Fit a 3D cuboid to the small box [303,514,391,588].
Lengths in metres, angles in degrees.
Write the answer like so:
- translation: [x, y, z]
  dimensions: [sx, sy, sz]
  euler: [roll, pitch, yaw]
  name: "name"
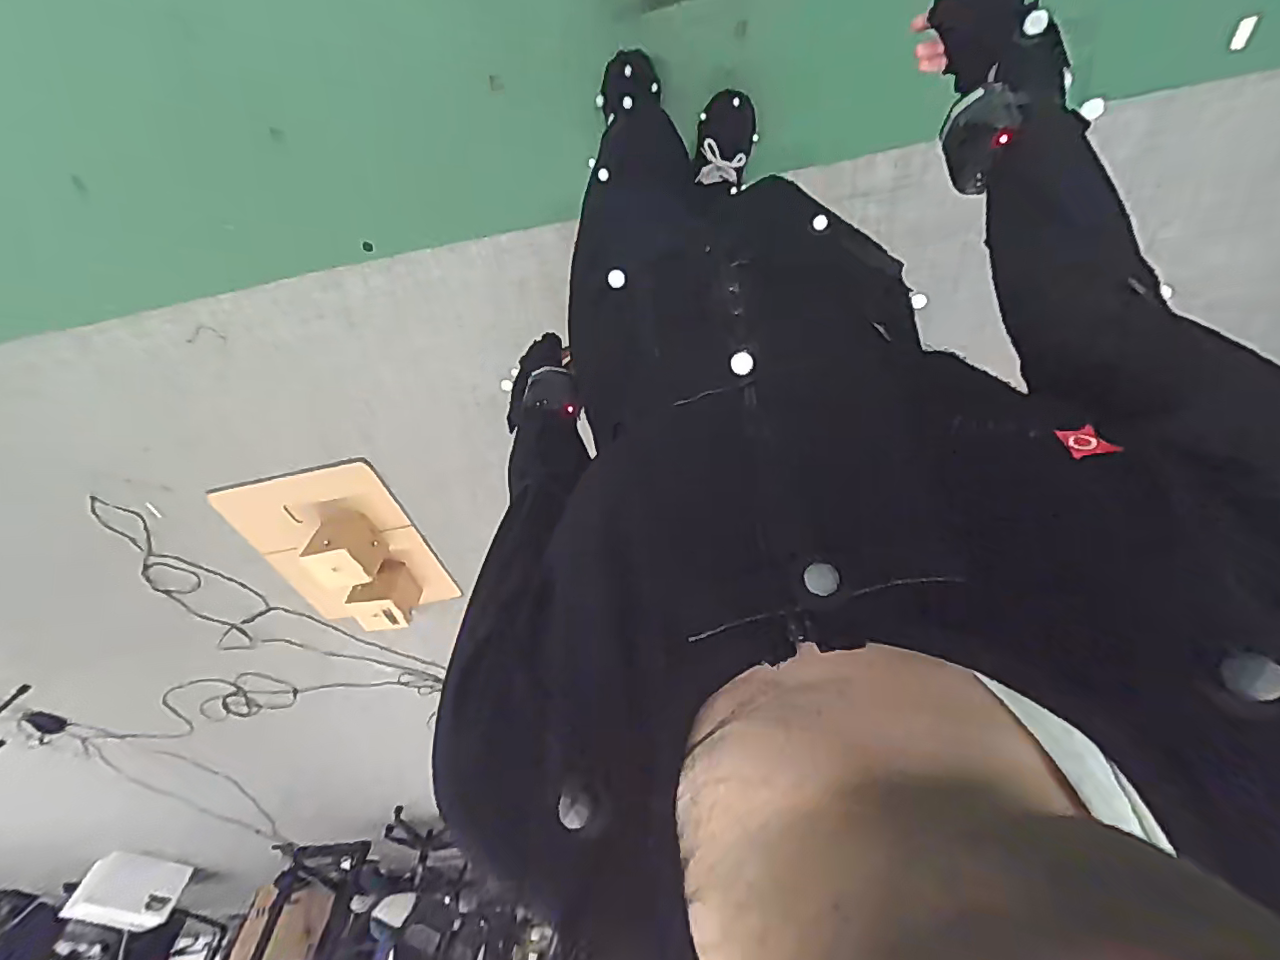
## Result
- translation: [-0.989, 0.239, 1.843]
  dimensions: [0.179, 0.176, 0.168]
  euler: [-13, 128, 9]
  name: "small box"
